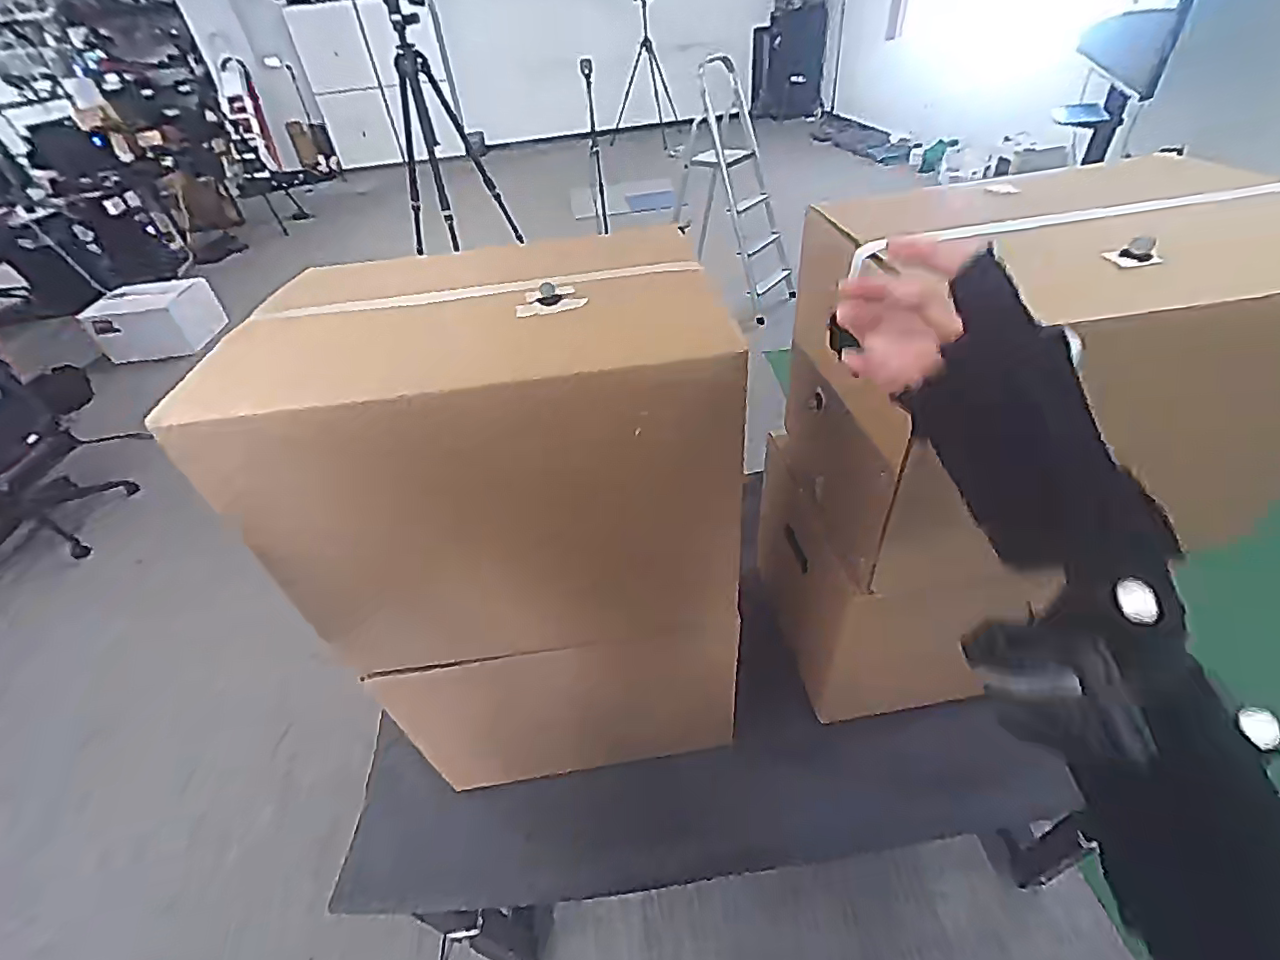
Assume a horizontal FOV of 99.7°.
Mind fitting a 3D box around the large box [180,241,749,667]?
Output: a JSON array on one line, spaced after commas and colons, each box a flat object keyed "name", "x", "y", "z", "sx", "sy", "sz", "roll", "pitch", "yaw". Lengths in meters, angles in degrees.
[{"name": "large box", "x": -0.126, "y": -0.038, "z": 0.582, "sx": 0.408, "sy": 0.320, "sz": 0.320, "roll": -7, "pitch": 40, "yaw": -3}]
